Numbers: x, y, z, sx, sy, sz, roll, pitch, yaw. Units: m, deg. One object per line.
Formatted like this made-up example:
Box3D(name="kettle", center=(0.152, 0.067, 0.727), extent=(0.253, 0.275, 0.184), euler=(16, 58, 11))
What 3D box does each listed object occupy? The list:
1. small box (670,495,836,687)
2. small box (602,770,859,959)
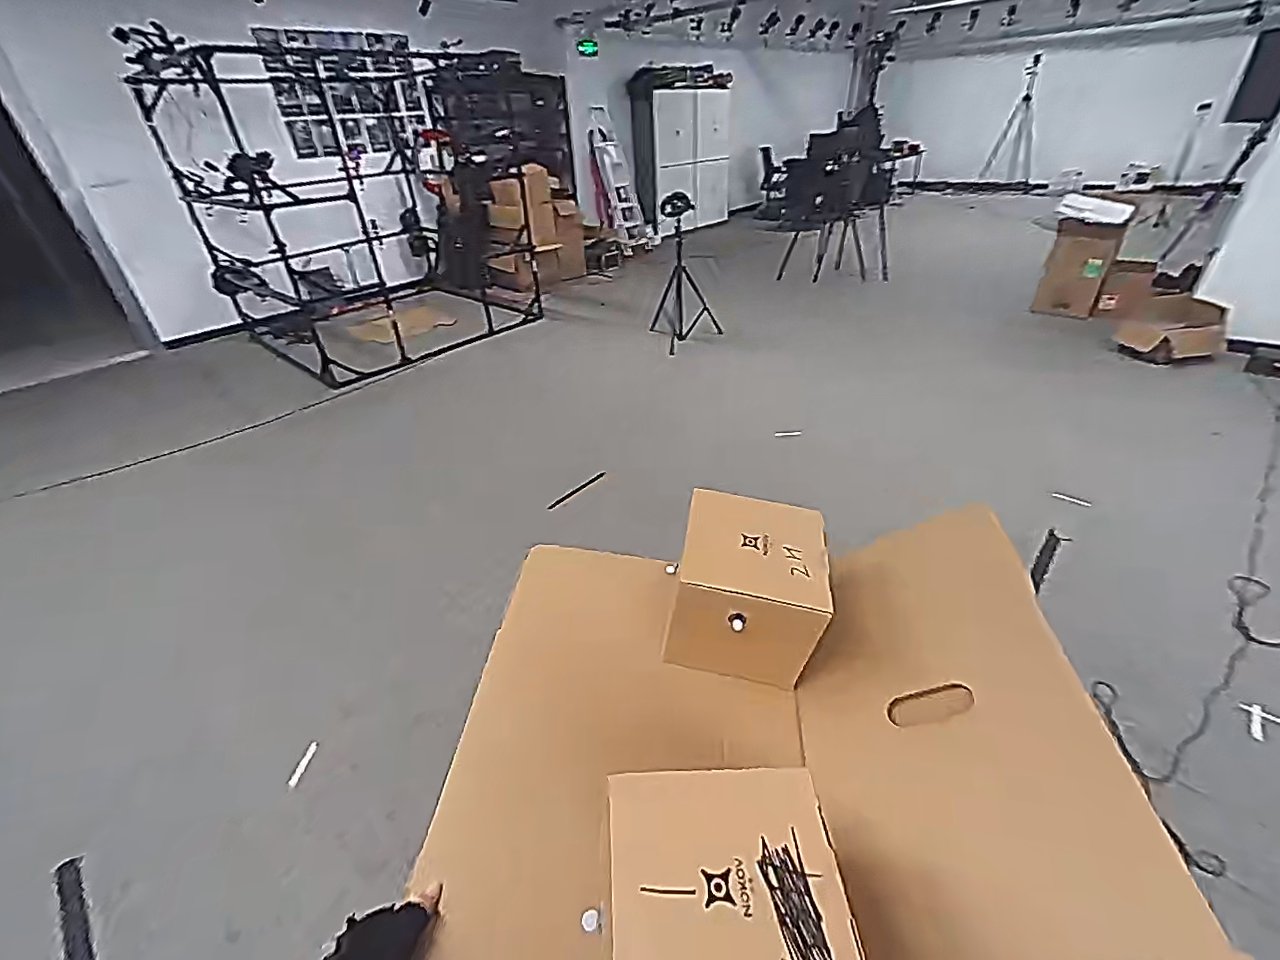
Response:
Box3D(name="small box", center=(0.144, 0.148, 0.719), extent=(0.179, 0.176, 0.168), euler=(13, 41, 6))
Box3D(name="small box", center=(0.060, 0.365, 0.457), extent=(0.179, 0.176, 0.168), euler=(2, 41, -5))
